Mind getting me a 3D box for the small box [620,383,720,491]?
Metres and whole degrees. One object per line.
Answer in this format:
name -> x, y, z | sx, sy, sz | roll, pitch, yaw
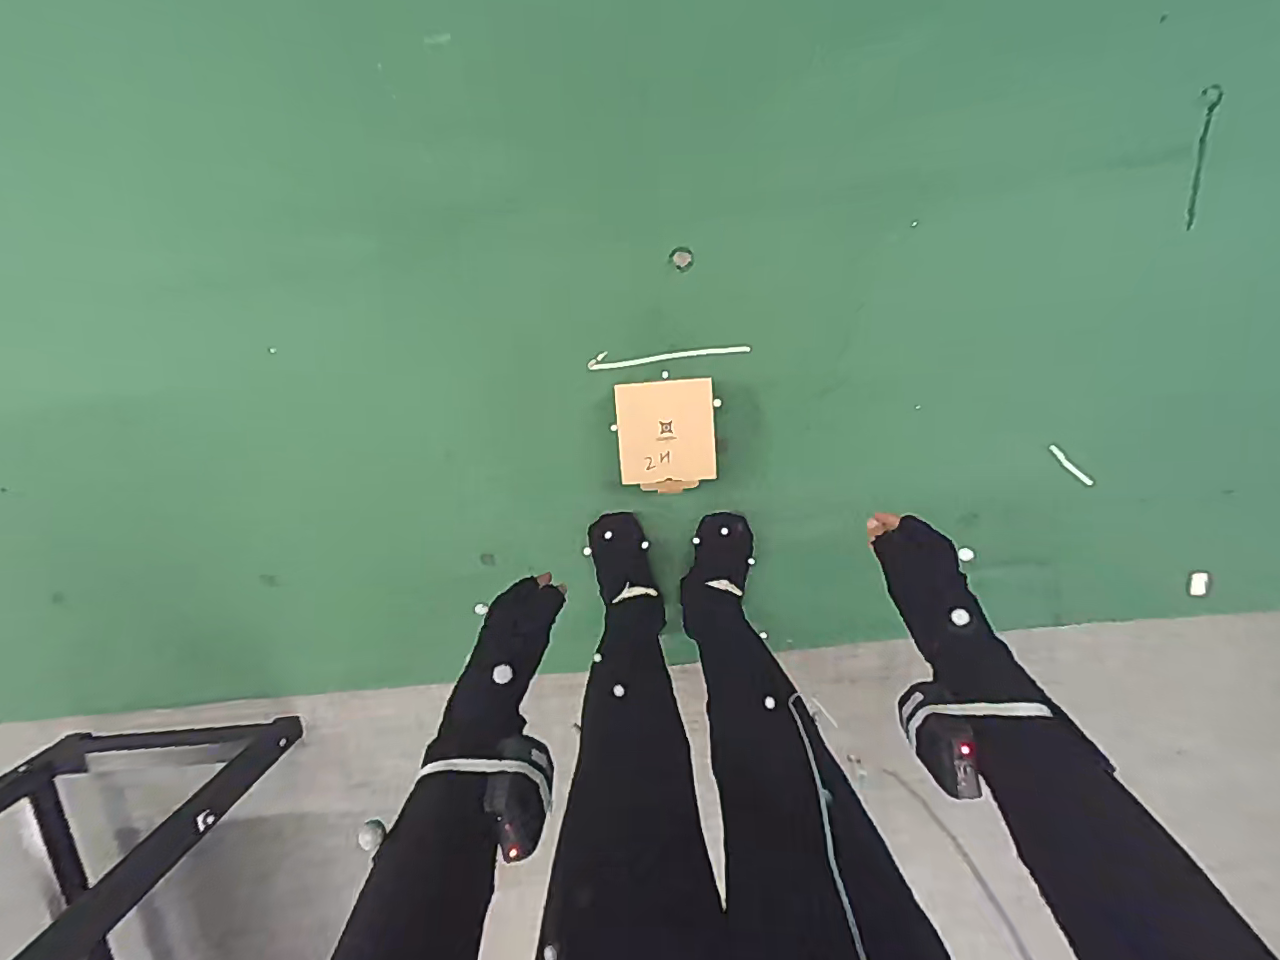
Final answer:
small box -> 0.055, -0.085, 0.999 | 0.168, 0.176, 0.179 | -4, 101, 4
